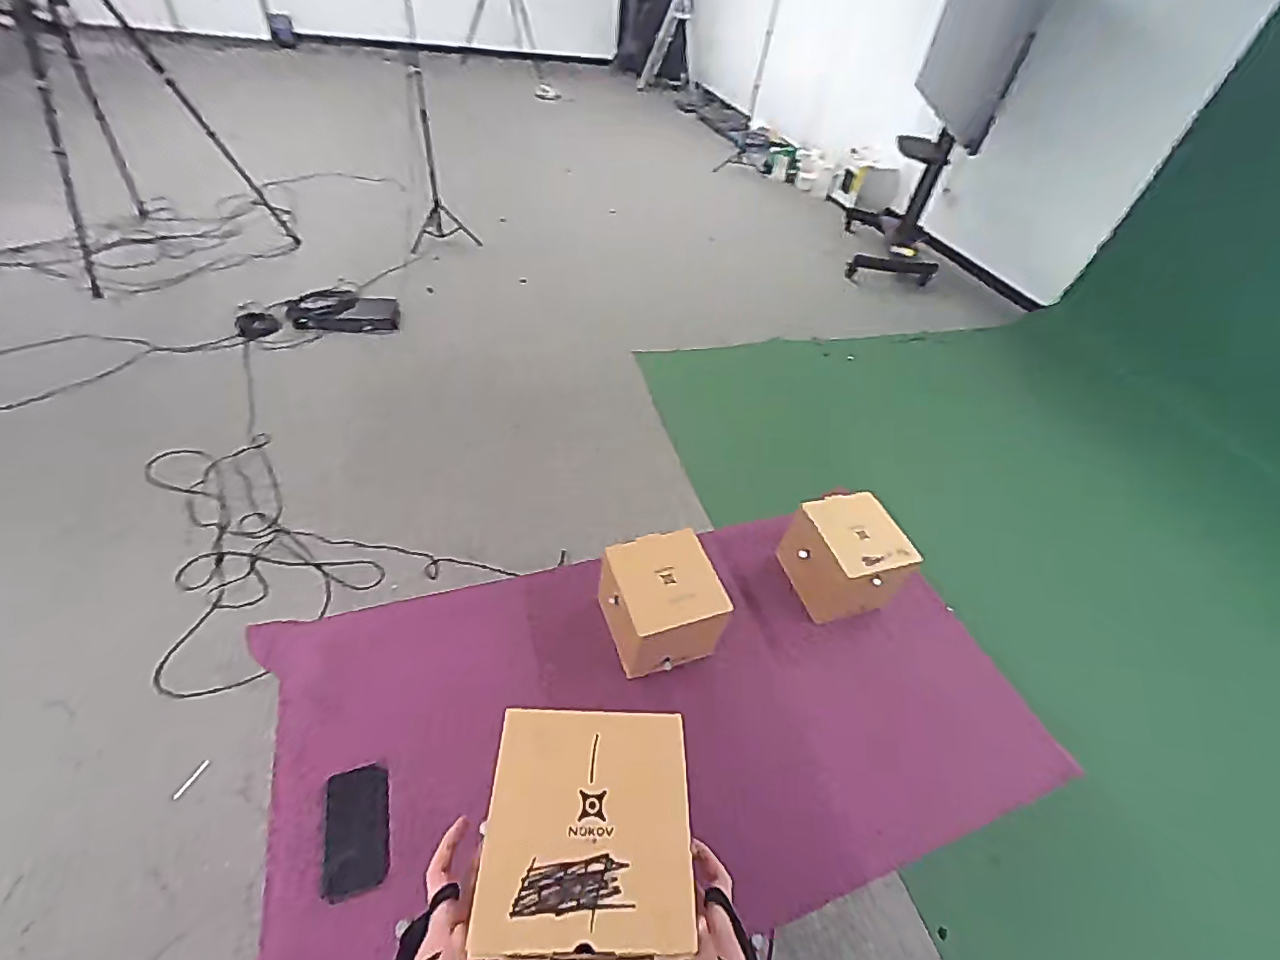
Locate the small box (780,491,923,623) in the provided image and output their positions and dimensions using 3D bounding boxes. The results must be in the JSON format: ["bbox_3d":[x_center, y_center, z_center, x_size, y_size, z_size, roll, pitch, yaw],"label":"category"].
[{"bbox_3d":[0.400,0.150,1.061,0.168,0.176,0.179,-10,48,-16],"label":"small box"}]

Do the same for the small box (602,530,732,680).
[{"bbox_3d":[0.035,0.218,0.945,0.168,0.176,0.179,-12,50,-17],"label":"small box"}]

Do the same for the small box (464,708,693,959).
[{"bbox_3d":[-0.047,0.332,0.494,0.168,0.176,0.179,4,43,-3],"label":"small box"}]
